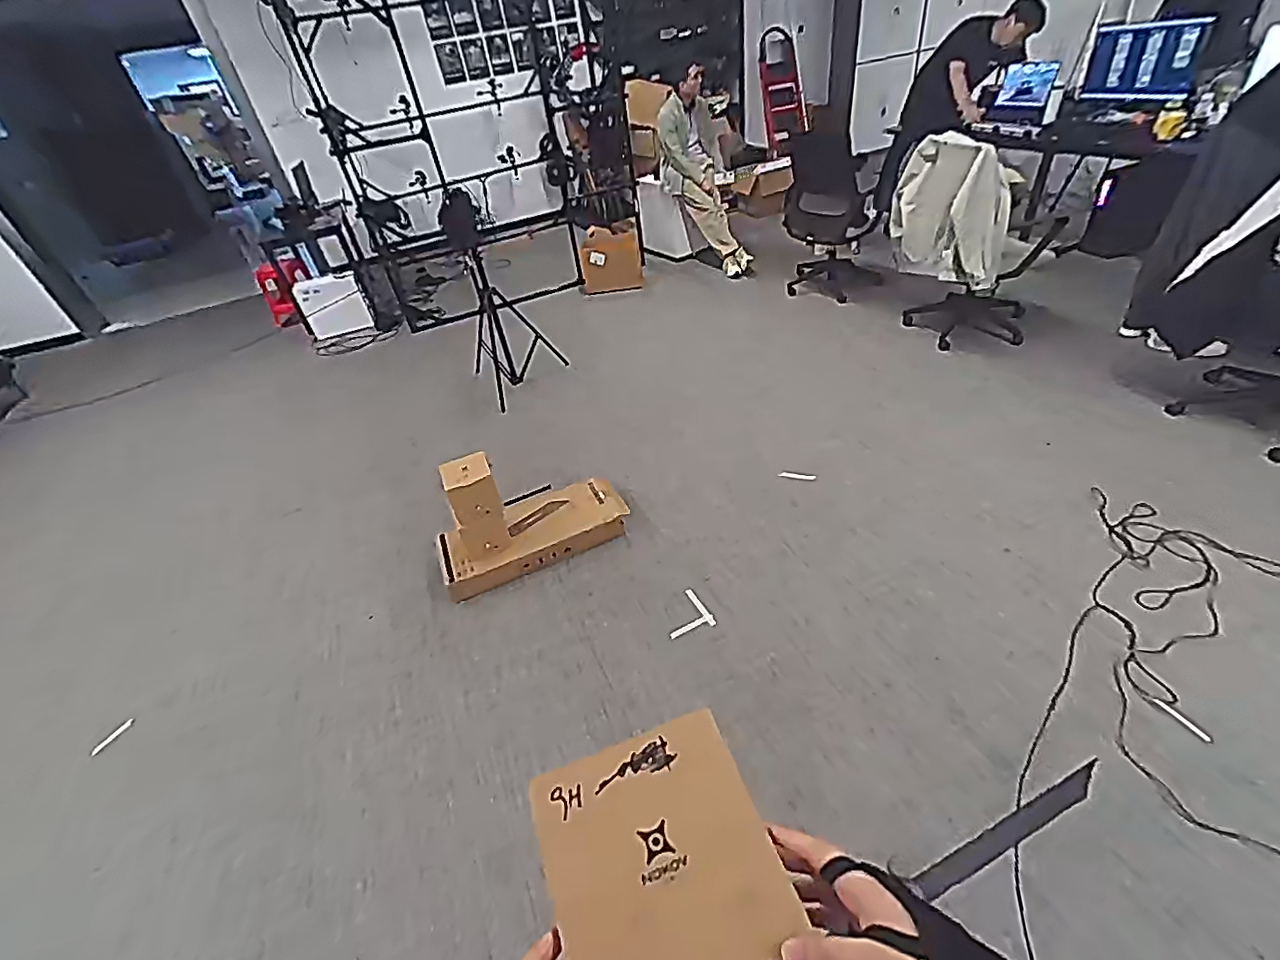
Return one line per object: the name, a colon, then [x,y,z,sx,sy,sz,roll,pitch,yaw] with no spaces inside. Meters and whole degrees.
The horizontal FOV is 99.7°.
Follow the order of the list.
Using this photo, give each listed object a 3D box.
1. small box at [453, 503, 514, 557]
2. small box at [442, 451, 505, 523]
small box: [-0.599,0.163,2.070,0.168,0.176,0.179,-22,41,-15]
small box: [-0.607,0.026,1.977,0.168,0.176,0.179,-21,40,-14]
